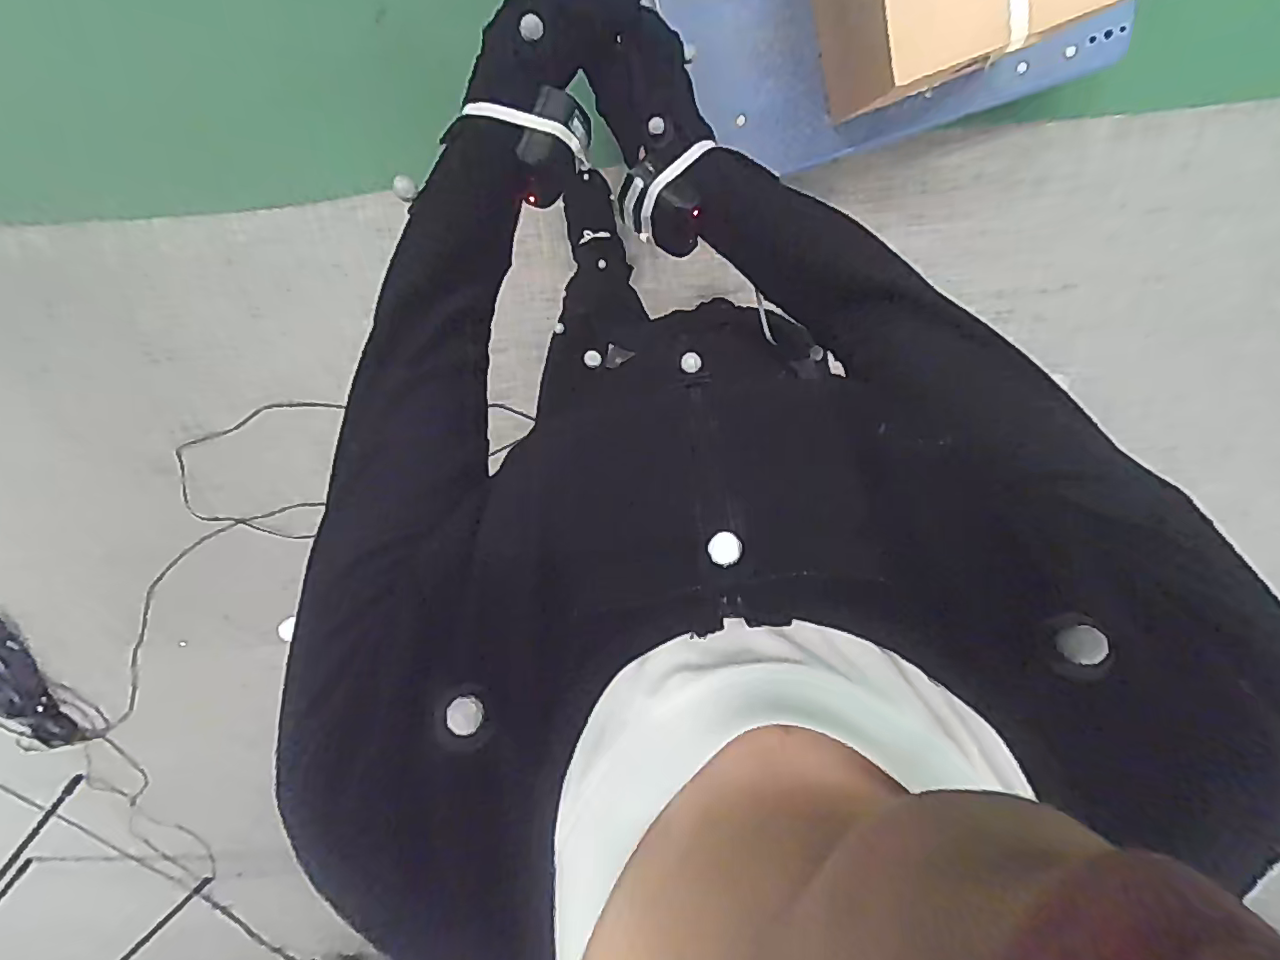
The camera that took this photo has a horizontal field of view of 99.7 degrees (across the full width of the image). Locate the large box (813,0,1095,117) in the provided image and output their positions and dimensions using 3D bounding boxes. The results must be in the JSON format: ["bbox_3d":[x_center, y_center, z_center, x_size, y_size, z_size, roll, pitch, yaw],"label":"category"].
[{"bbox_3d":[0.432,-0.830,0.781,0.320,0.320,0.408,-17,113,9],"label":"large box"}]
